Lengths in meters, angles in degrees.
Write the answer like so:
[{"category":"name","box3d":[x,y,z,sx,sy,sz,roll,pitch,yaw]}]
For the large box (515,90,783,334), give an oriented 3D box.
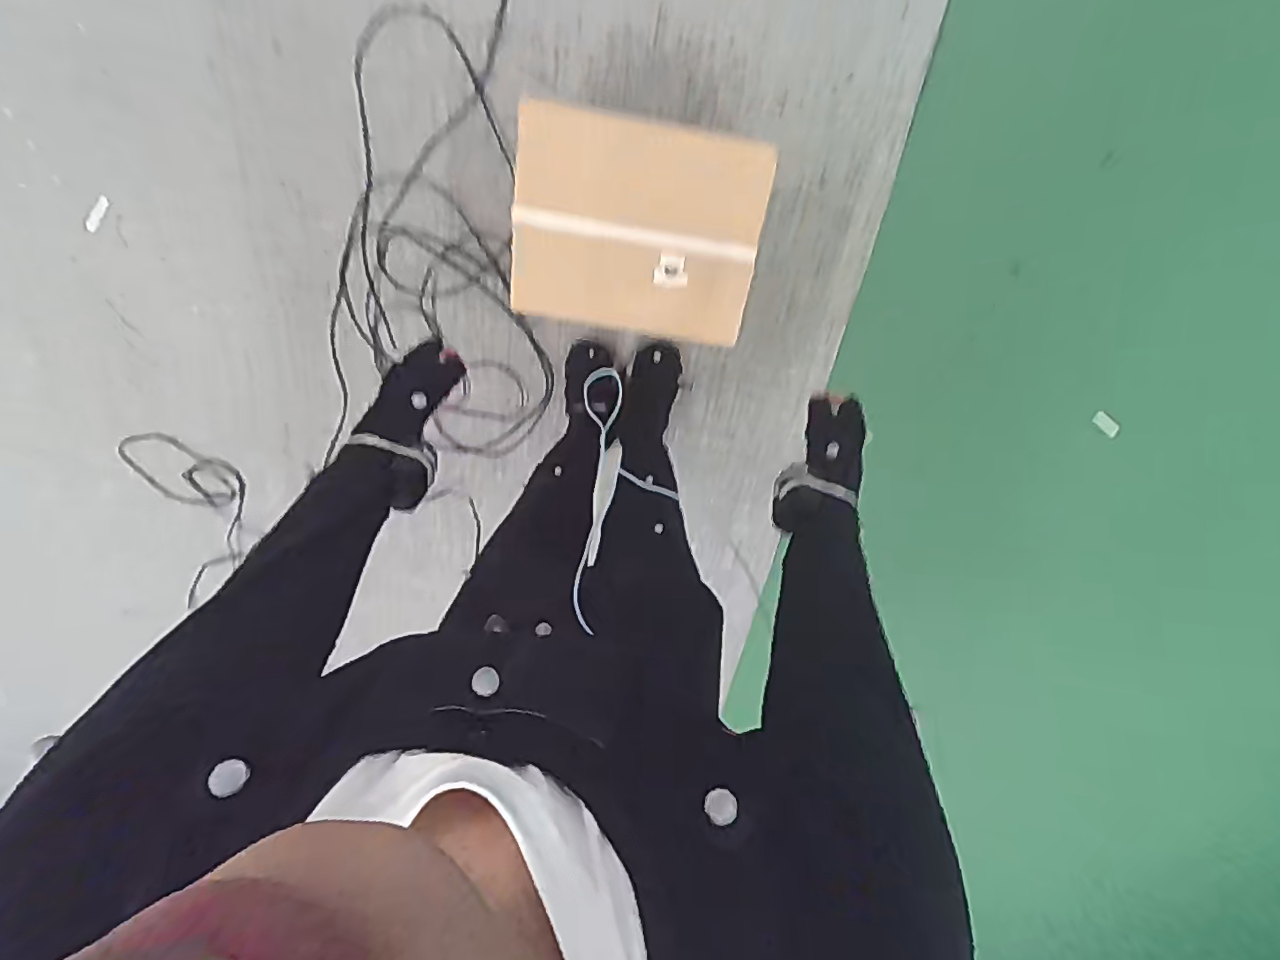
[{"category":"large box","box3d":[0.000,-0.485,1.010,0.408,0.320,0.320,9,118,-4]}]
